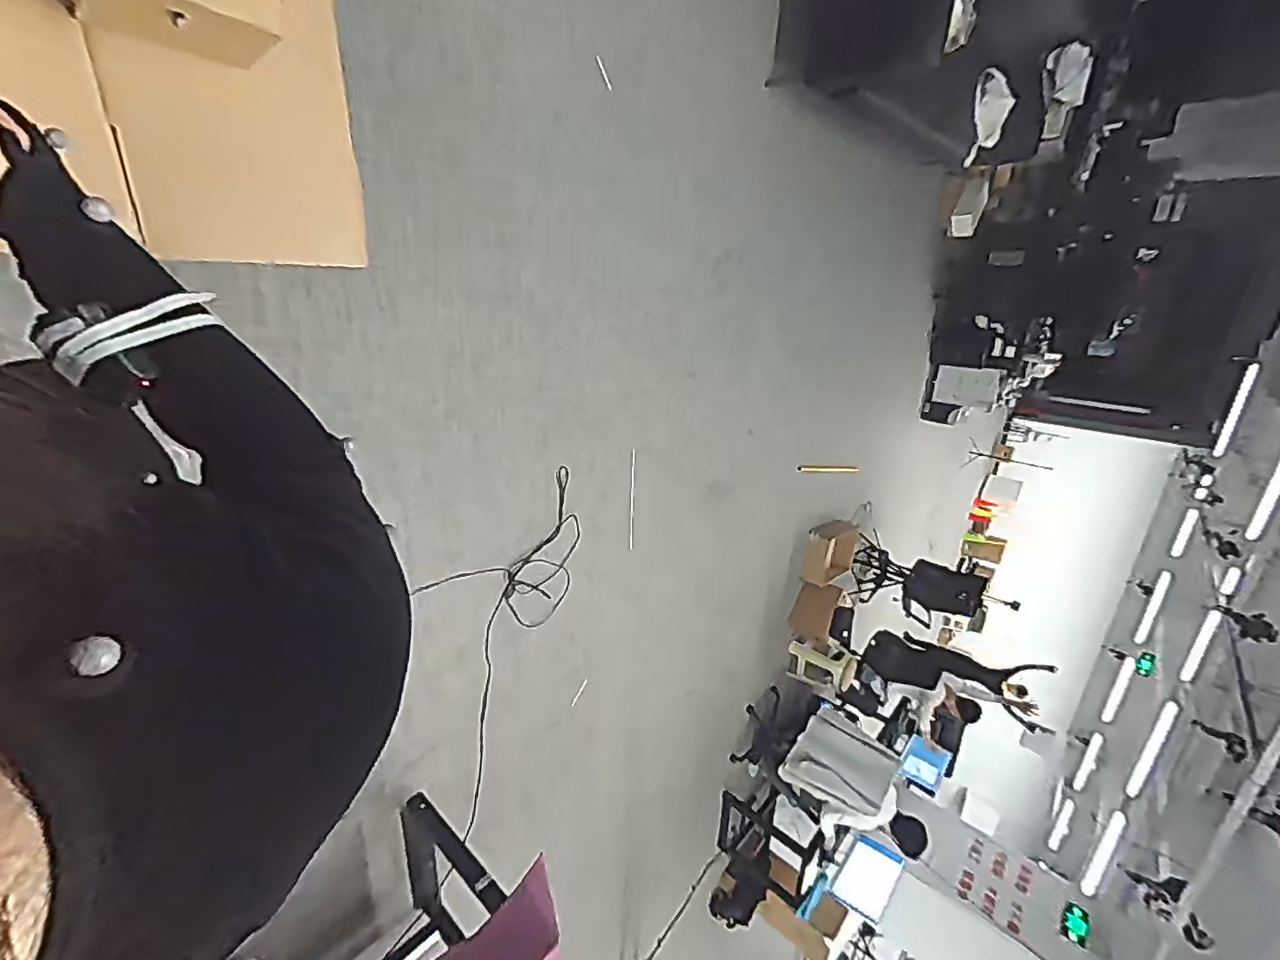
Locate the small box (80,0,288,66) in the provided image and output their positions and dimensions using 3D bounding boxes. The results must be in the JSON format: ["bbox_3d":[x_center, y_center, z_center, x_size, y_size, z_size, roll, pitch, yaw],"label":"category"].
[{"bbox_3d":[-0.533,-0.609,0.617,0.179,0.176,0.168,-15,116,-44],"label":"small box"}]
